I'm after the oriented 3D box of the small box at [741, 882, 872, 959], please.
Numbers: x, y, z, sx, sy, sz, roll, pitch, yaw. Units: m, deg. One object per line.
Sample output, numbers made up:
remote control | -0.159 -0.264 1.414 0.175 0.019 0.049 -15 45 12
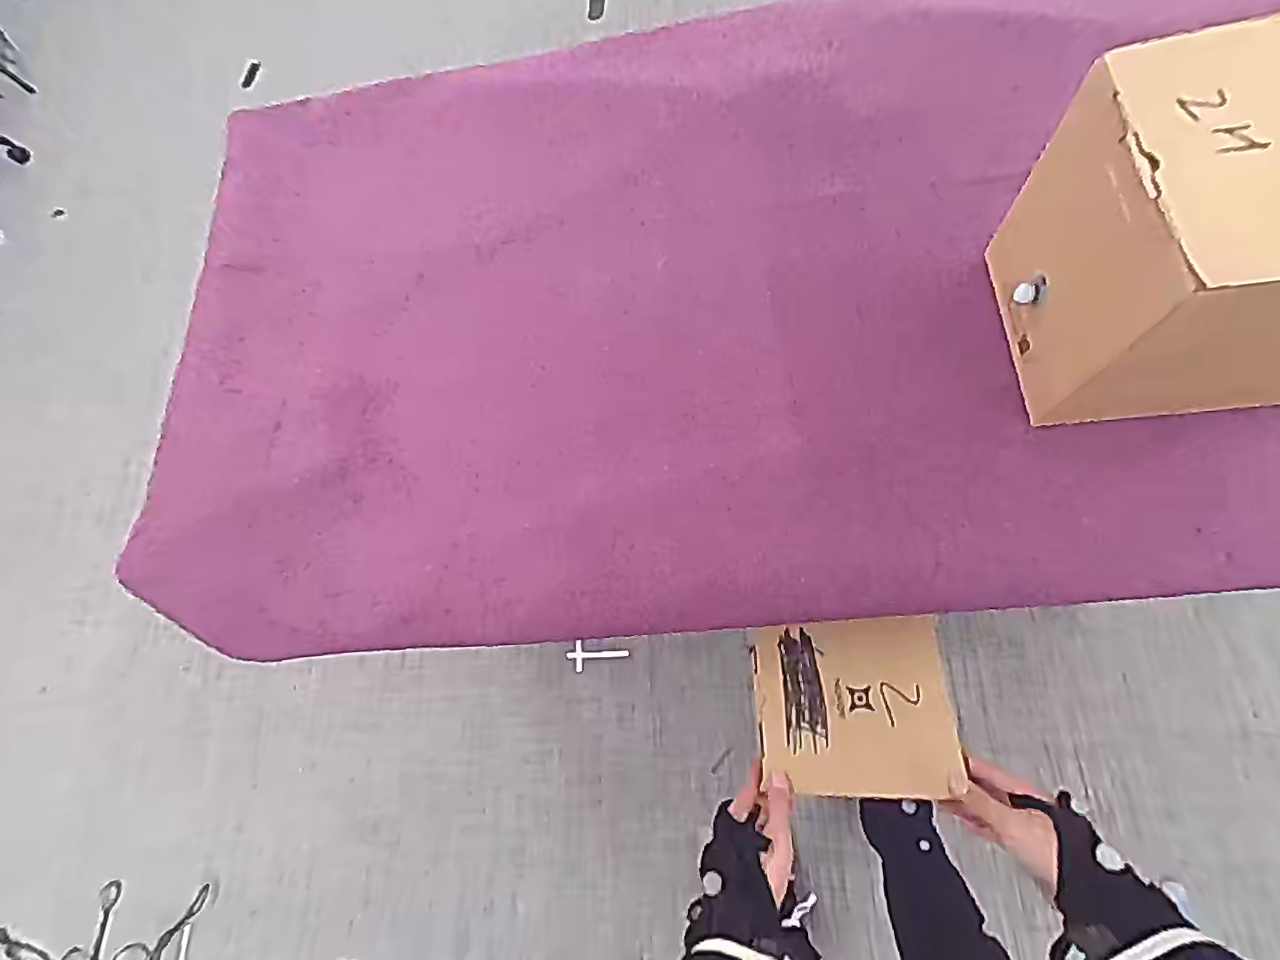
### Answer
small box | 0.260 0.764 0.860 0.179 0.176 0.168 -2 69 6
